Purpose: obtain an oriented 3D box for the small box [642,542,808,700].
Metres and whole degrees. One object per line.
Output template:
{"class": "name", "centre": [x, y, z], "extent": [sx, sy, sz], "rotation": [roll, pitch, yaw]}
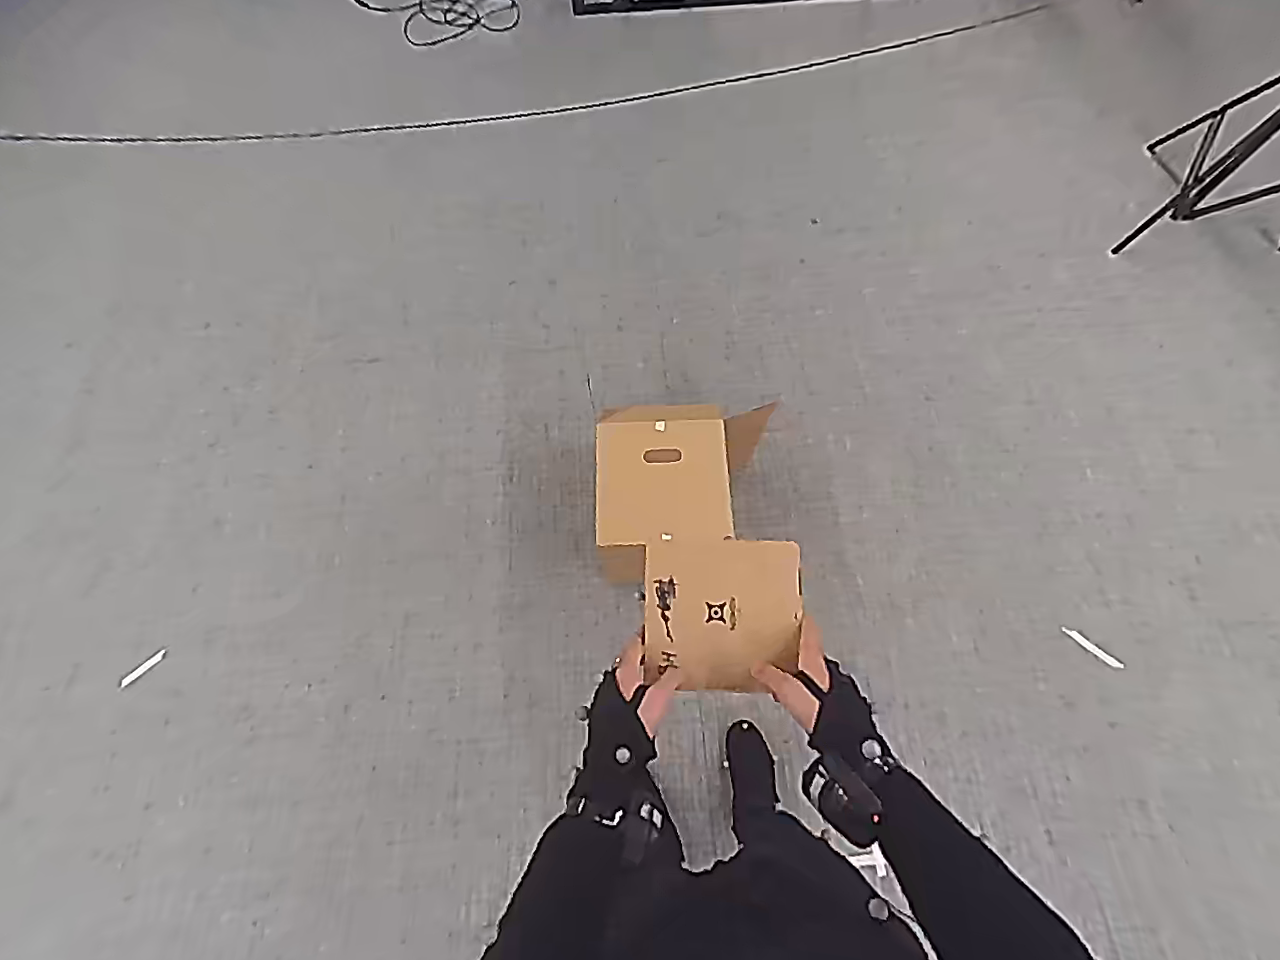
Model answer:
{"class": "small box", "centre": [0.094, 0.169, 0.670], "extent": [0.179, 0.176, 0.168], "rotation": [2, 77, 0]}
